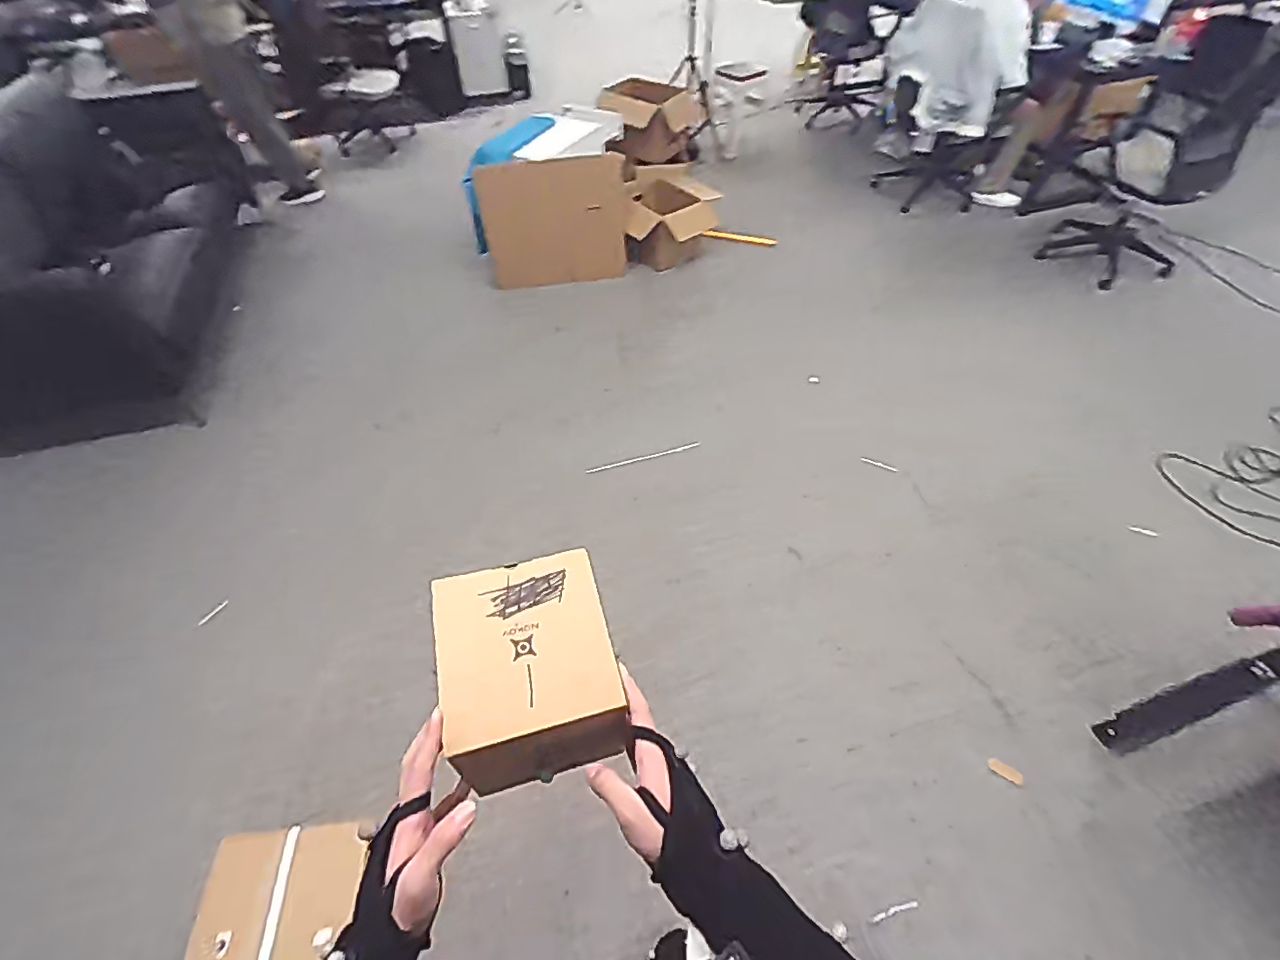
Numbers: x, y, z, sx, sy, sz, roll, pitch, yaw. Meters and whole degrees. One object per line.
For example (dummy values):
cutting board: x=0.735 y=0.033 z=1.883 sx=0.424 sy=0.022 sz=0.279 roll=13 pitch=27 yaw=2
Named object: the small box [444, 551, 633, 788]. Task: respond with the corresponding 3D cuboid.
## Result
small box: x=-0.110 y=0.208 z=0.594 sx=0.168 sy=0.176 sz=0.179 roll=-11 pitch=52 yaw=-11
